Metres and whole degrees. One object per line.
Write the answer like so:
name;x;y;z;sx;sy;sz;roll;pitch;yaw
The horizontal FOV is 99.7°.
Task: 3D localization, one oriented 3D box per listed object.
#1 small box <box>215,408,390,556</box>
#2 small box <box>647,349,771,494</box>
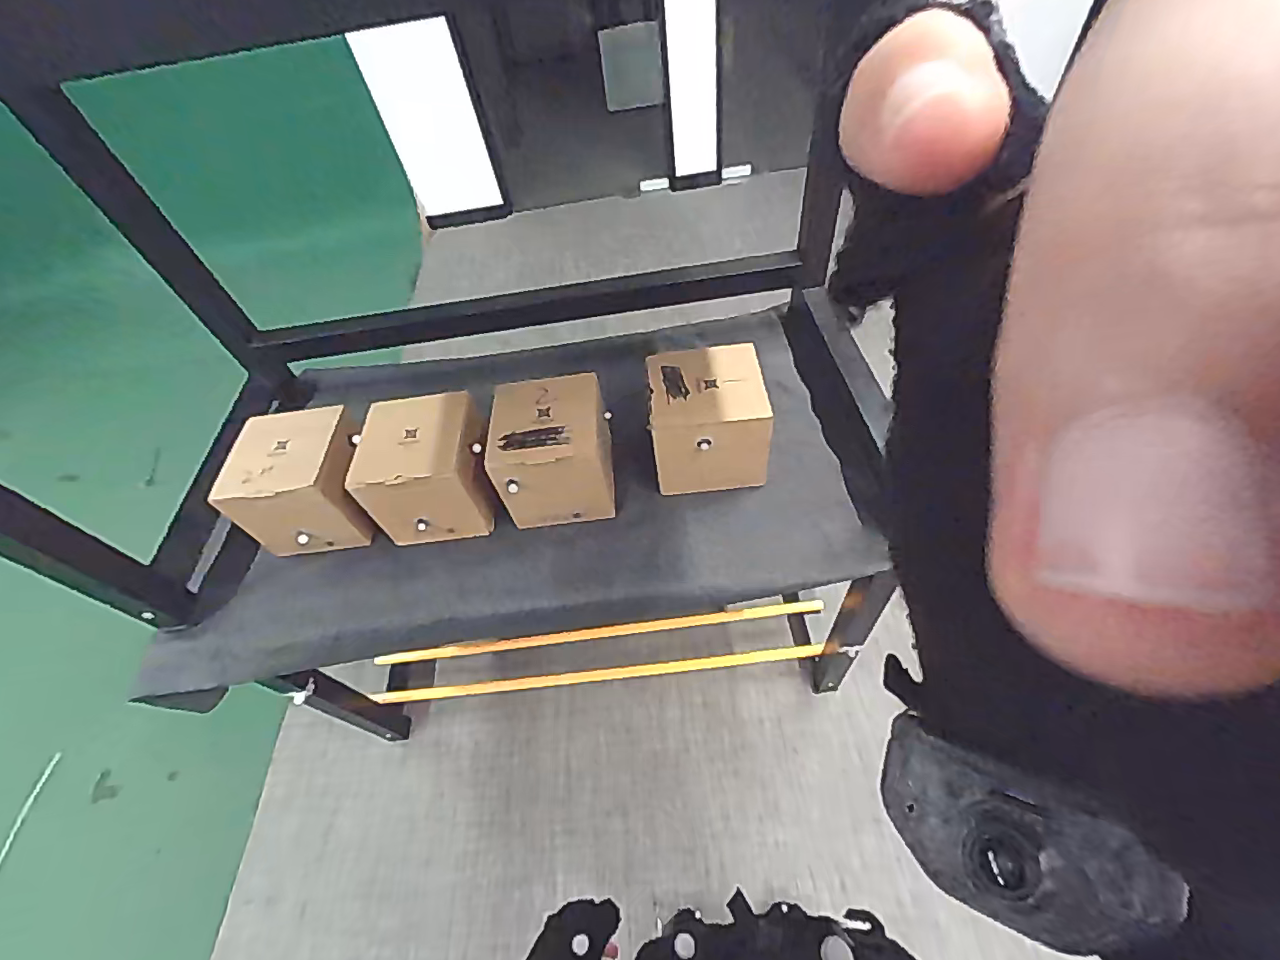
small box;-0.546;0.005;0.909;0.168;0.176;0.179;-8;52;3
small box;0.109;-0.090;0.887;0.179;0.176;0.168;-5;53;3
